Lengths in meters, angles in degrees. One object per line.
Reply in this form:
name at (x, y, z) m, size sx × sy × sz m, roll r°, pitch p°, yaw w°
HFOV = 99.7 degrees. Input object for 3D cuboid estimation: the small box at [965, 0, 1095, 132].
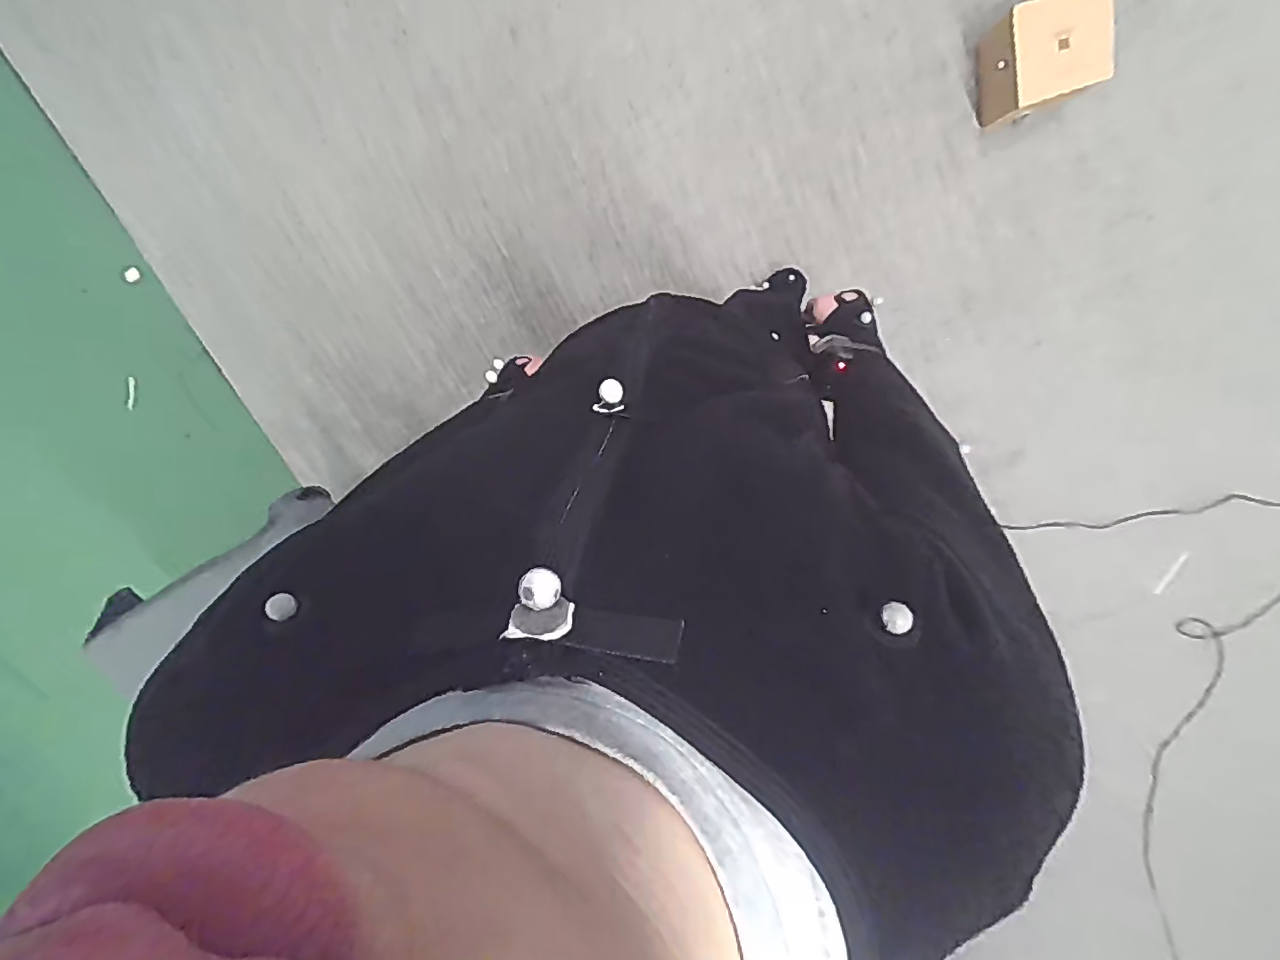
small box at (0.799, -0.862, 1.123) m, size 0.168 × 0.176 × 0.179 m, roll -13°, pitch 109°, yaw 13°
